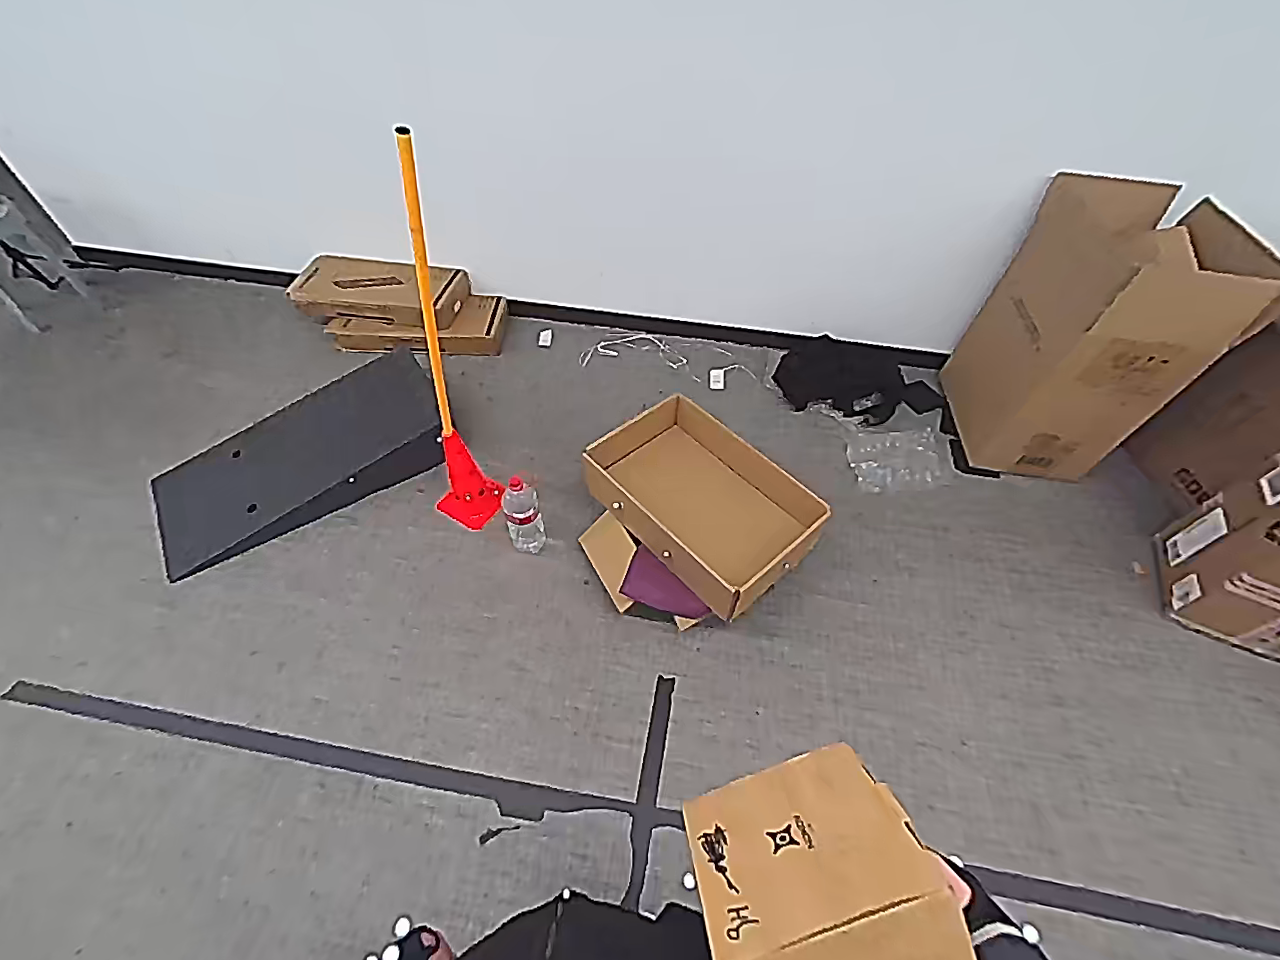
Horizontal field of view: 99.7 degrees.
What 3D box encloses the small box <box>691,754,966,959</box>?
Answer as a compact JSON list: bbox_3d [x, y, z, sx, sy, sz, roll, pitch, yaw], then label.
[{"bbox_3d":[0.161,0.386,0.470,0.179,0.168,0.176,-19,96,-2],"label":"small box"}]
